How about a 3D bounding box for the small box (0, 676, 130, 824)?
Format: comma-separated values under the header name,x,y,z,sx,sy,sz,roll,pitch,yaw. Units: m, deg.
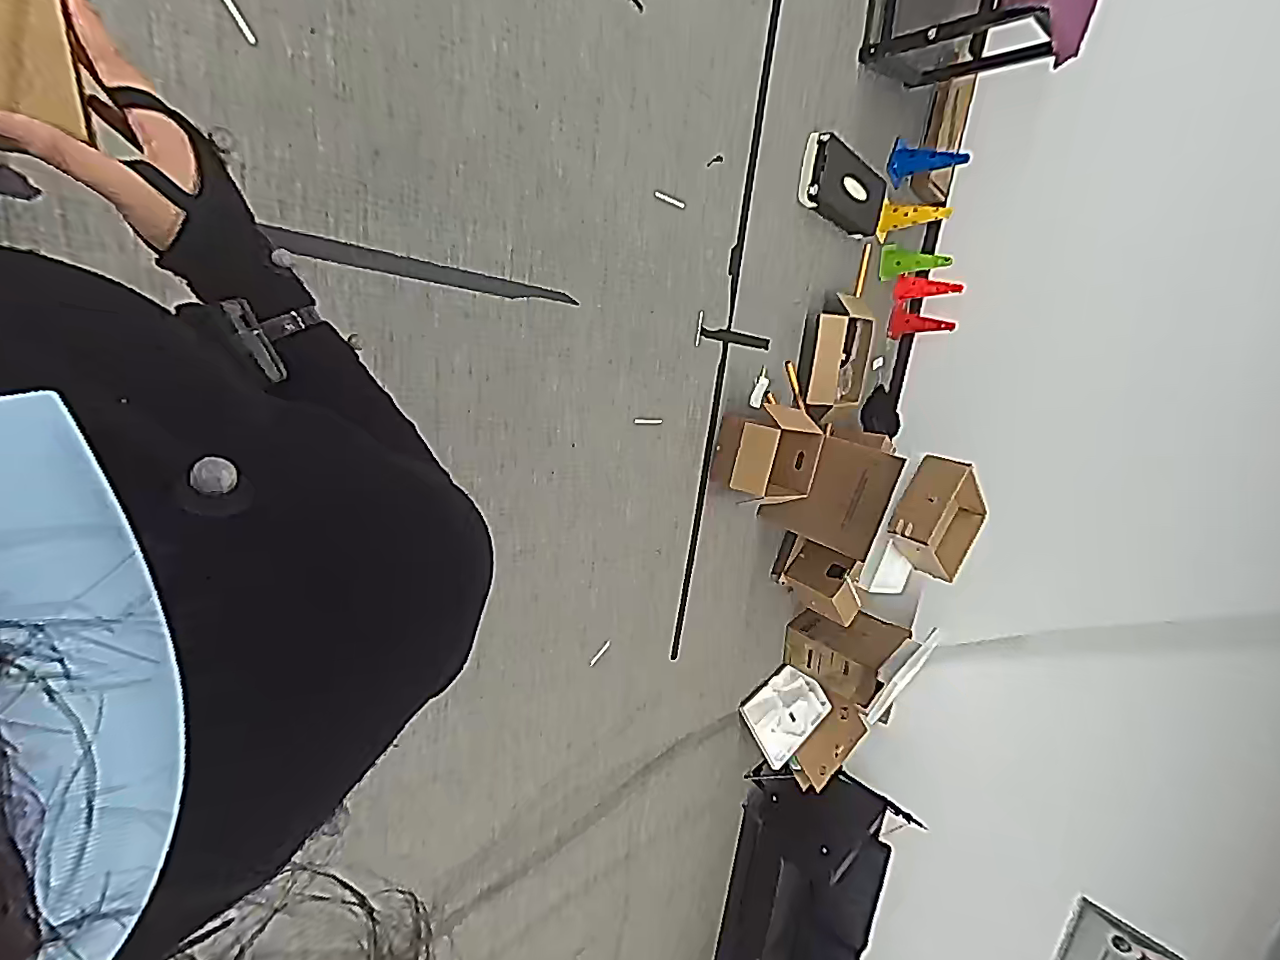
name,x,y,z,sx,sy,sz,roll,pitch,yaw
small box,-1.159,0.535,1.097,0.168,0.176,0.179,-8,110,-44
